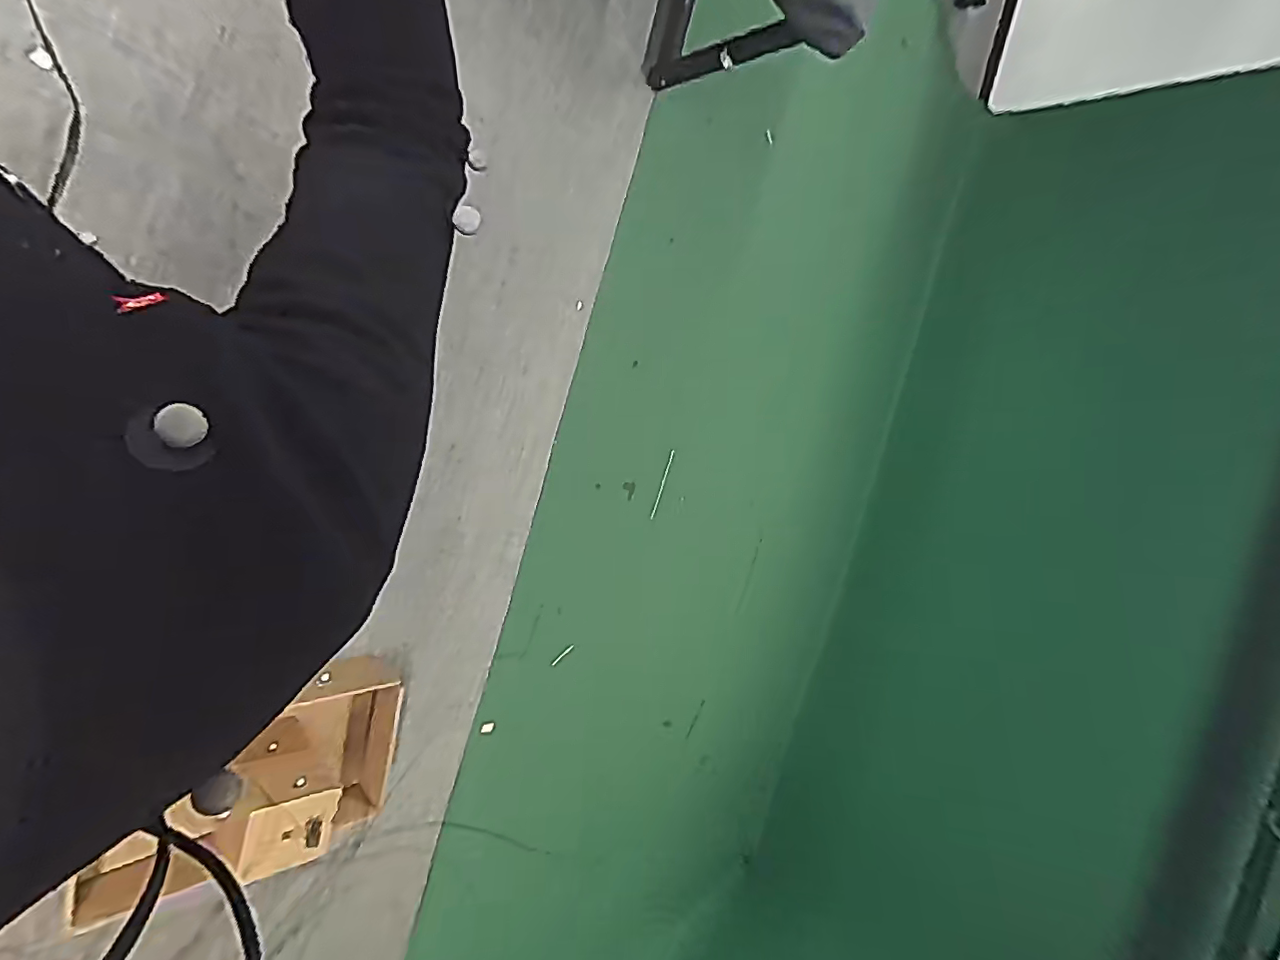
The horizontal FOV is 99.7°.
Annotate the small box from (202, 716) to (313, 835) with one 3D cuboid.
[{"bbox_3d":[-0.922,0.697,1.303,0.179,0.176,0.168,6,97,-48],"label":"small box"}]

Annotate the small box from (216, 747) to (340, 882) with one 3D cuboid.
[{"bbox_3d":[-0.800,0.722,1.194,0.179,0.176,0.168,11,95,-49],"label":"small box"}]
